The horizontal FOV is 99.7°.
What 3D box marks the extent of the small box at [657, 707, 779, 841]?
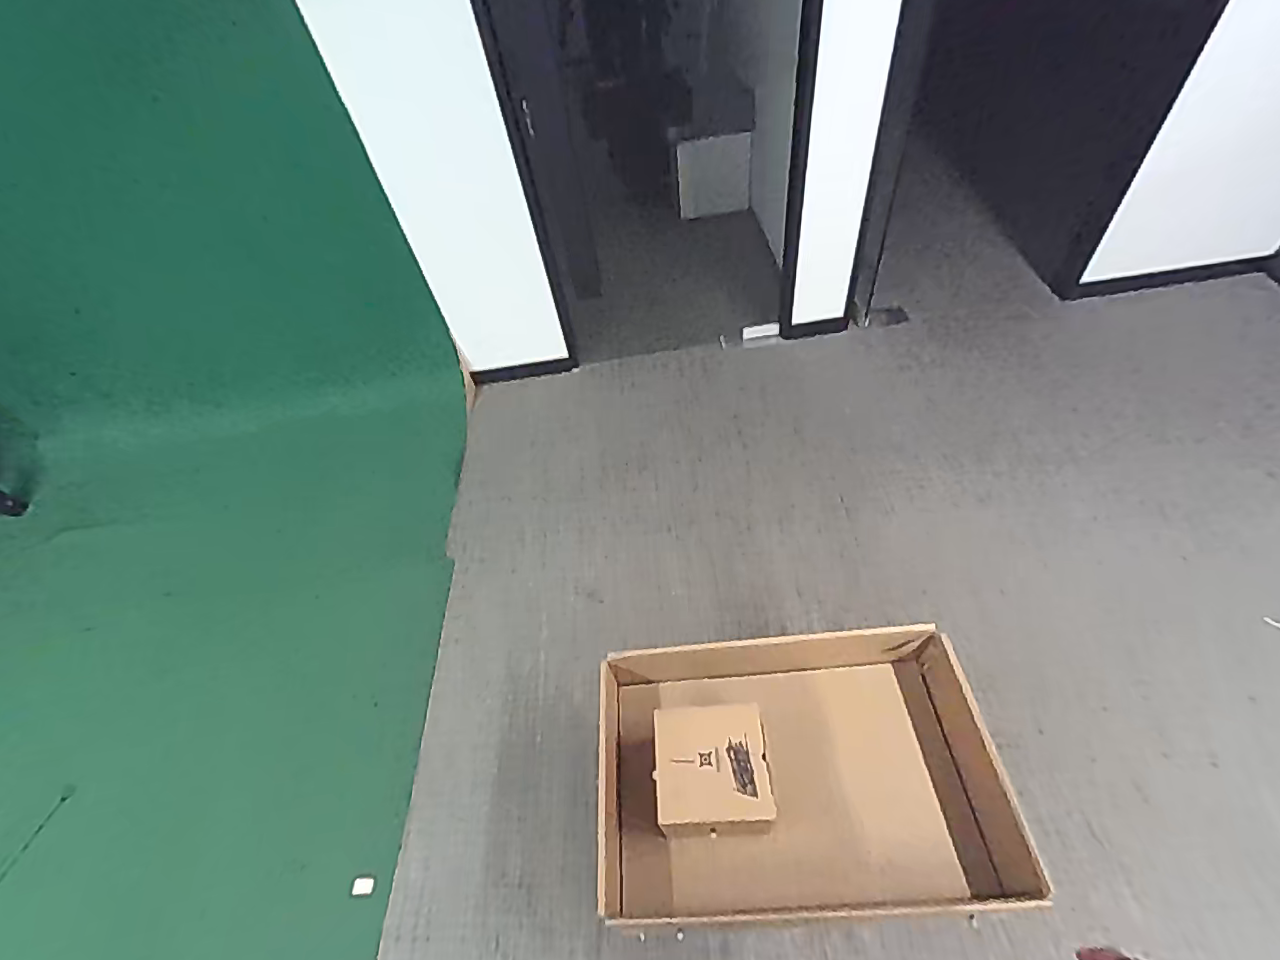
[{"bbox_3d":[0.123,0.489,0.894,0.179,0.176,0.168,-6,49,5],"label":"small box"}]
